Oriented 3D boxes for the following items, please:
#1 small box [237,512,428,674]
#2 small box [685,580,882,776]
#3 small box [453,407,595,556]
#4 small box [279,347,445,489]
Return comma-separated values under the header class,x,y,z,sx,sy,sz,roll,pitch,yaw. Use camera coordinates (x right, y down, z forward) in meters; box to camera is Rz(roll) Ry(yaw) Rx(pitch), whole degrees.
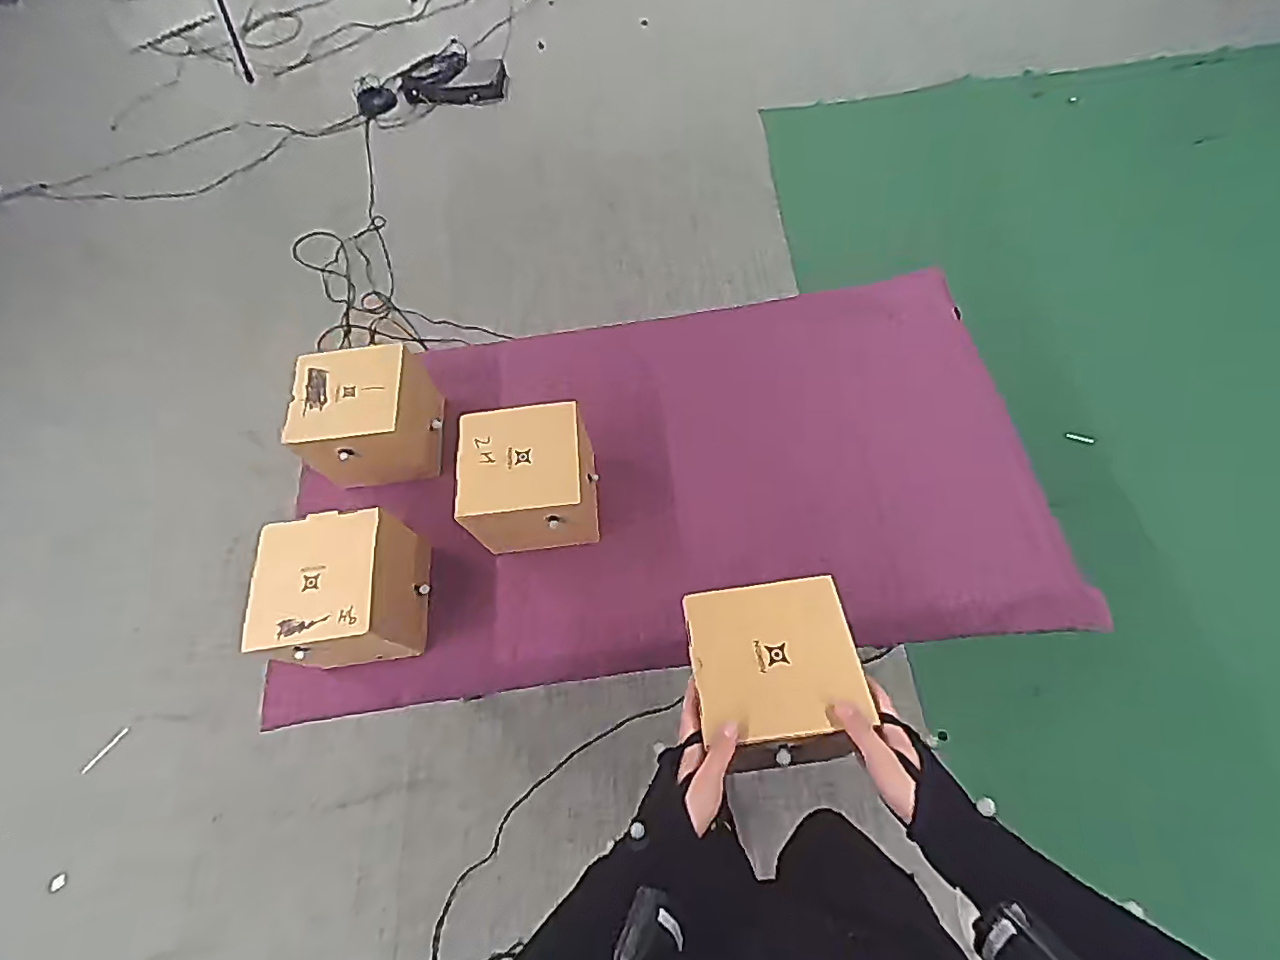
class,x,y,z,sx,sy,sz,roll,pitch,yaw
small box,-0.418,0.166,0.771,0.168,0.176,0.179,-9,63,1
small box,0.154,0.237,0.636,0.179,0.176,0.168,-10,53,4
small box,-0.164,0.009,0.822,0.179,0.176,0.168,-6,65,2
small box,-0.445,-0.095,0.895,0.179,0.176,0.168,-6,66,1
